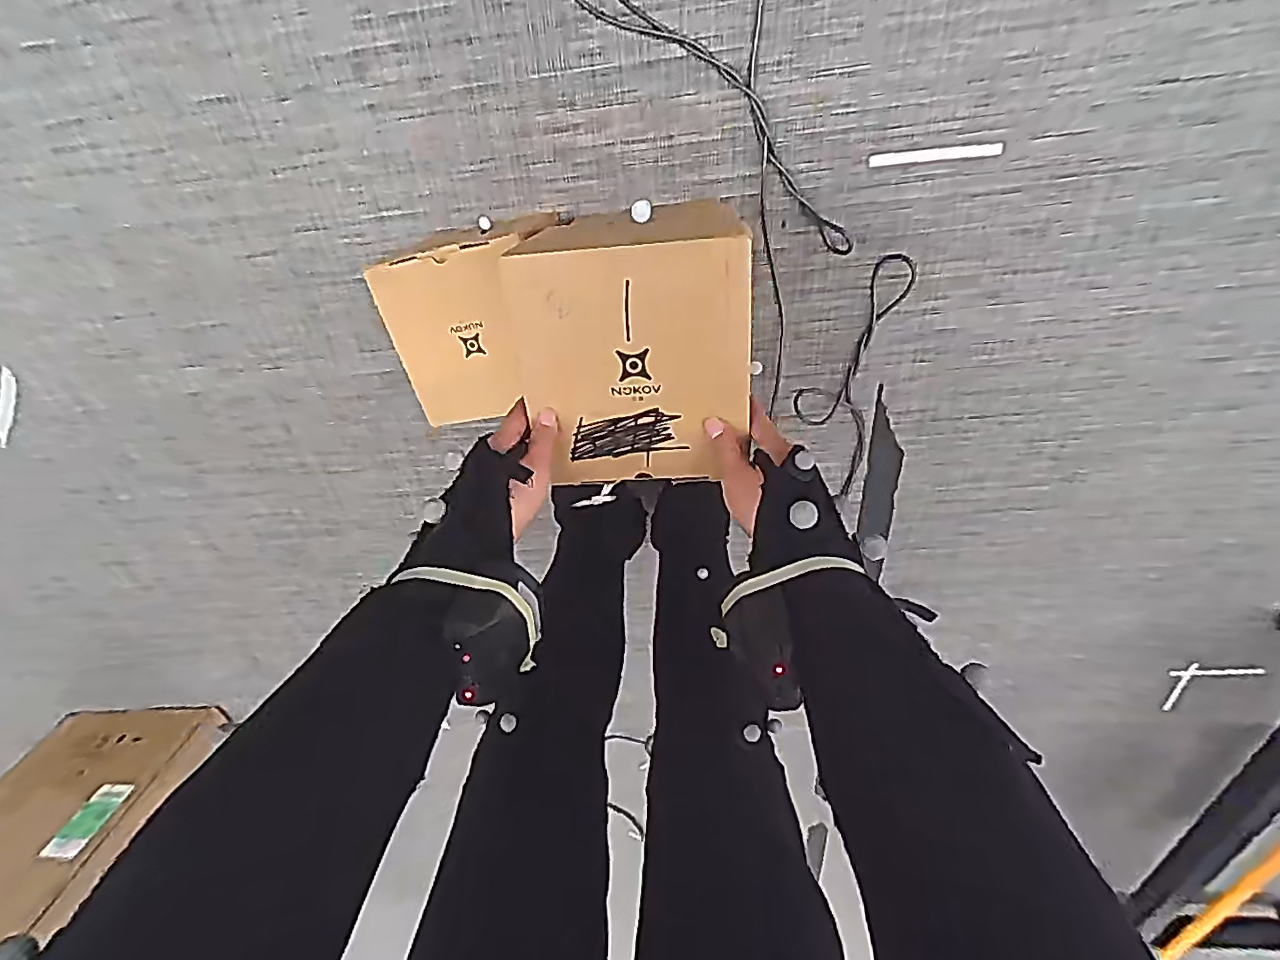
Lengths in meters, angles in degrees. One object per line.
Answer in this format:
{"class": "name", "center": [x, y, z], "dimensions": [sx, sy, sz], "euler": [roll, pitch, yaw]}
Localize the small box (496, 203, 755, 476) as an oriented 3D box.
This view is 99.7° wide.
{"class": "small box", "center": [0.001, -0.119, 0.444], "dimensions": [0.168, 0.176, 0.179], "euler": [-2, 119, 5]}
